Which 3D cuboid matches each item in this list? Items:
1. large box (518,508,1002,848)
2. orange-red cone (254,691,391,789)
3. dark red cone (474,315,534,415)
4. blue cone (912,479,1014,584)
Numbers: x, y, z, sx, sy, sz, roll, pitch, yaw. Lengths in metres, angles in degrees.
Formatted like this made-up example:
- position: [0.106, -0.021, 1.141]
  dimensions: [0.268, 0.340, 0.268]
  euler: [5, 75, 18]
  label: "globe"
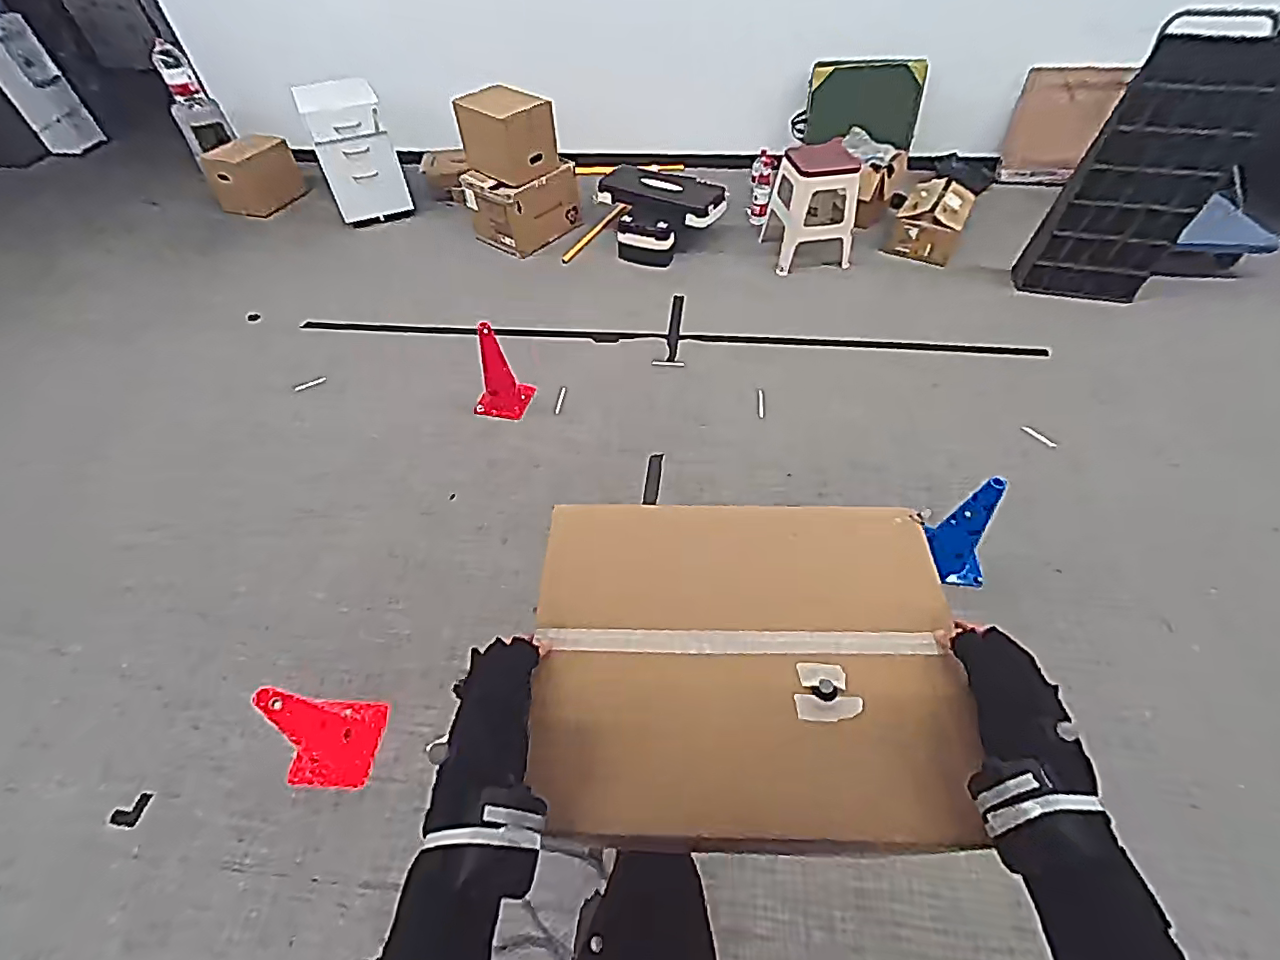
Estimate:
- position: [0.099, 0.245, 0.645]
  dimensions: [0.408, 0.320, 0.320]
  euler: [0, 54, 2]
  label: "large box"
- position: [-0.760, 0.562, 1.238]
  dimensions: [0.198, 0.360, 0.199]
  euler: [1, 51, 5]
  label: "orange-red cone"
- position: [-0.545, -0.439, 2.039]
  dimensions: [0.201, 0.394, 0.202]
  euler: [9, 51, 8]
  label: "dark red cone"
- position: [0.948, 0.128, 1.551]
  dimensions: [0.192, 0.380, 0.193]
  euler: [7, 51, 7]
  label: "blue cone"
